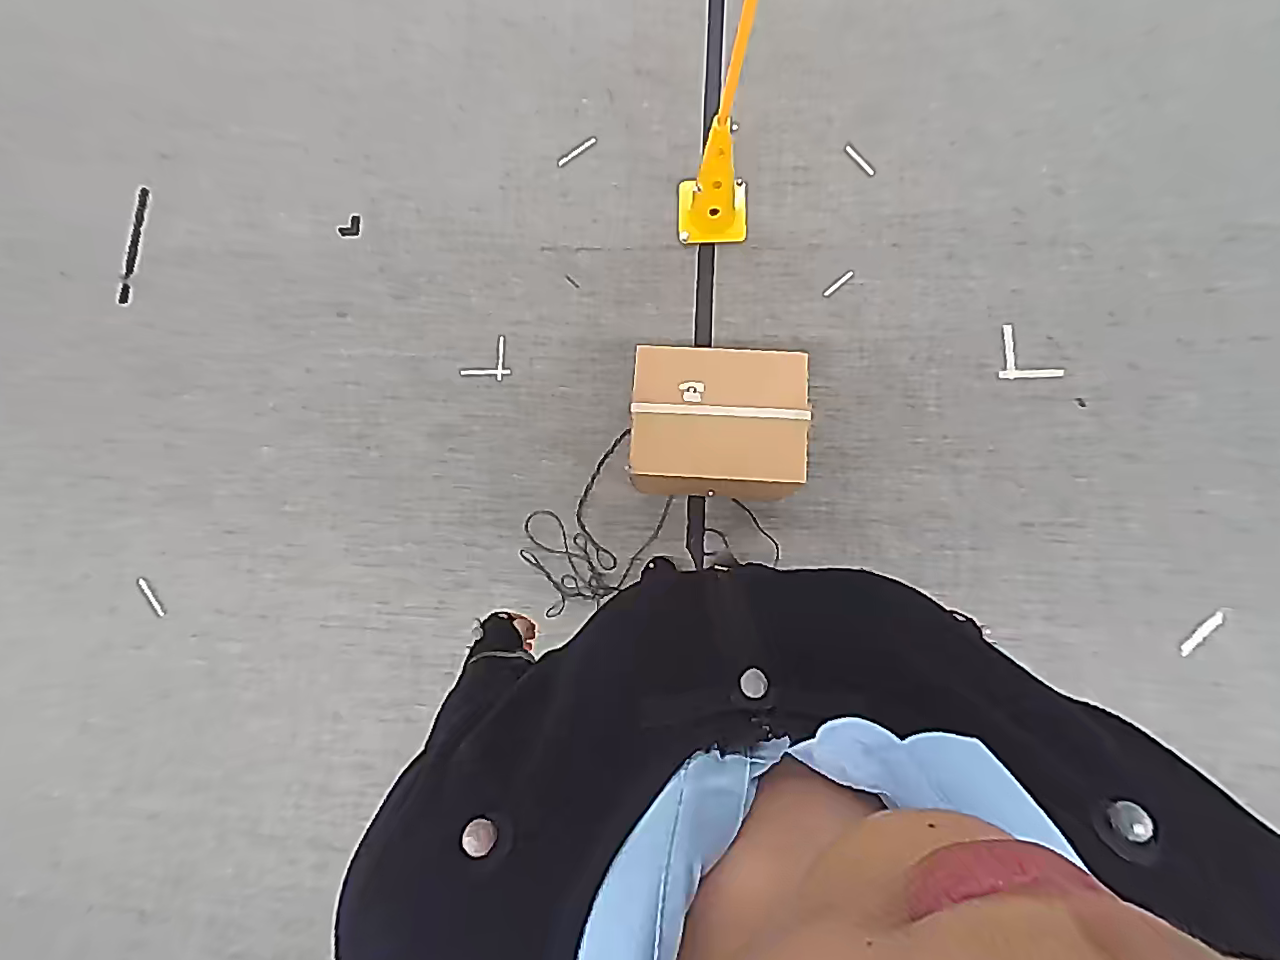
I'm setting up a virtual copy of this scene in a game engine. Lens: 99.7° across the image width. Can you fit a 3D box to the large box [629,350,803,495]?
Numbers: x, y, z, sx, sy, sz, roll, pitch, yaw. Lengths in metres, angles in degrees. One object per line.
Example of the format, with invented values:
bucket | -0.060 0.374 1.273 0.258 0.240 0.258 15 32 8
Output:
large box | 0.187 -0.132 1.406 0.408 0.320 0.320 2 80 4
